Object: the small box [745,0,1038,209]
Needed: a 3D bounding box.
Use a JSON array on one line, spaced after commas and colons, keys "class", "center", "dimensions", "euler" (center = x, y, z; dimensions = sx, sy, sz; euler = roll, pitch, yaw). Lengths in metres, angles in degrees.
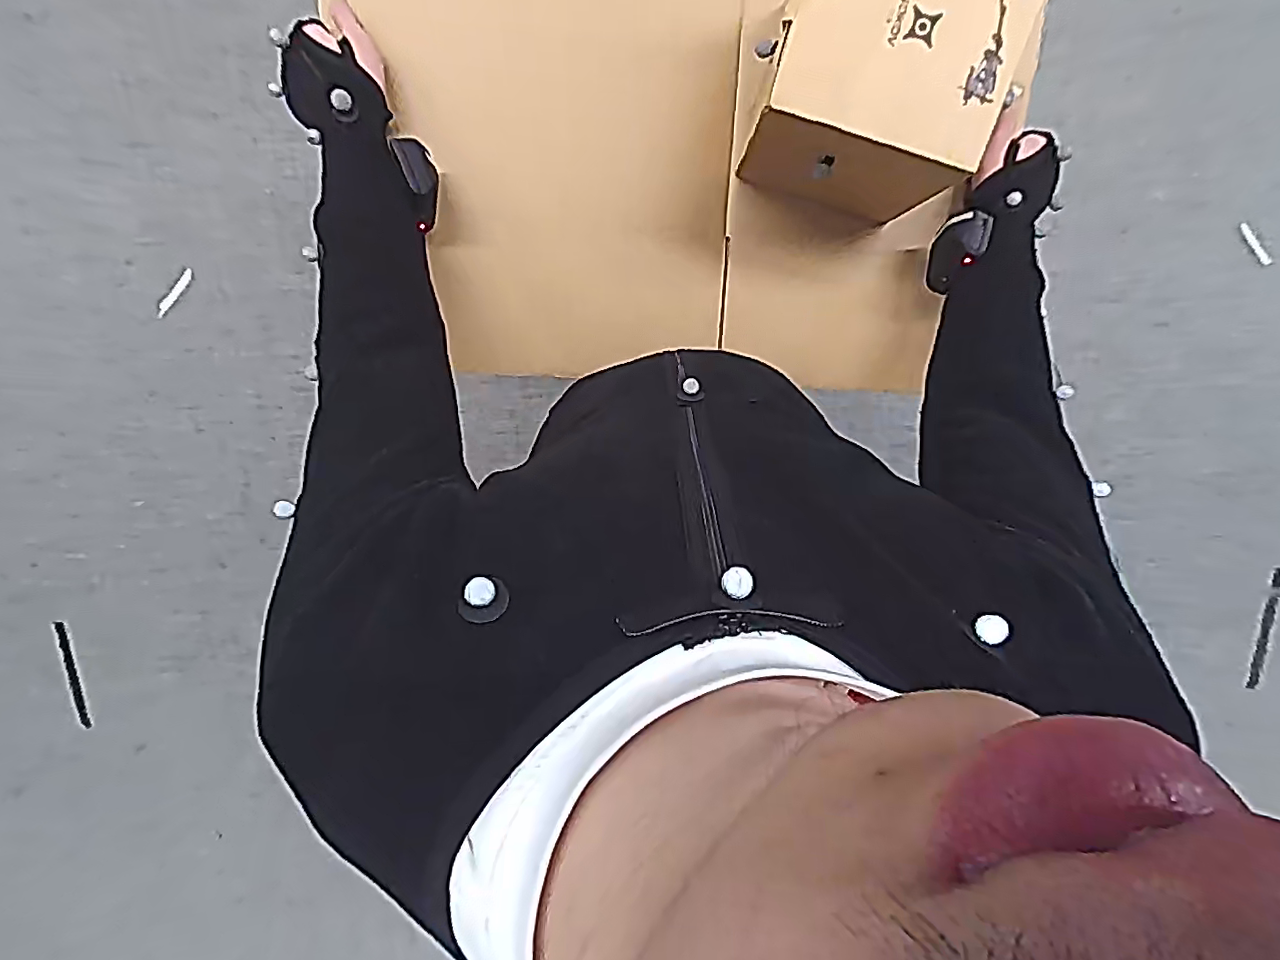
[{"class": "small box", "center": [0.207, -0.366, 0.484], "dimensions": [0.179, 0.176, 0.168], "euler": [17, 103, -1]}]
